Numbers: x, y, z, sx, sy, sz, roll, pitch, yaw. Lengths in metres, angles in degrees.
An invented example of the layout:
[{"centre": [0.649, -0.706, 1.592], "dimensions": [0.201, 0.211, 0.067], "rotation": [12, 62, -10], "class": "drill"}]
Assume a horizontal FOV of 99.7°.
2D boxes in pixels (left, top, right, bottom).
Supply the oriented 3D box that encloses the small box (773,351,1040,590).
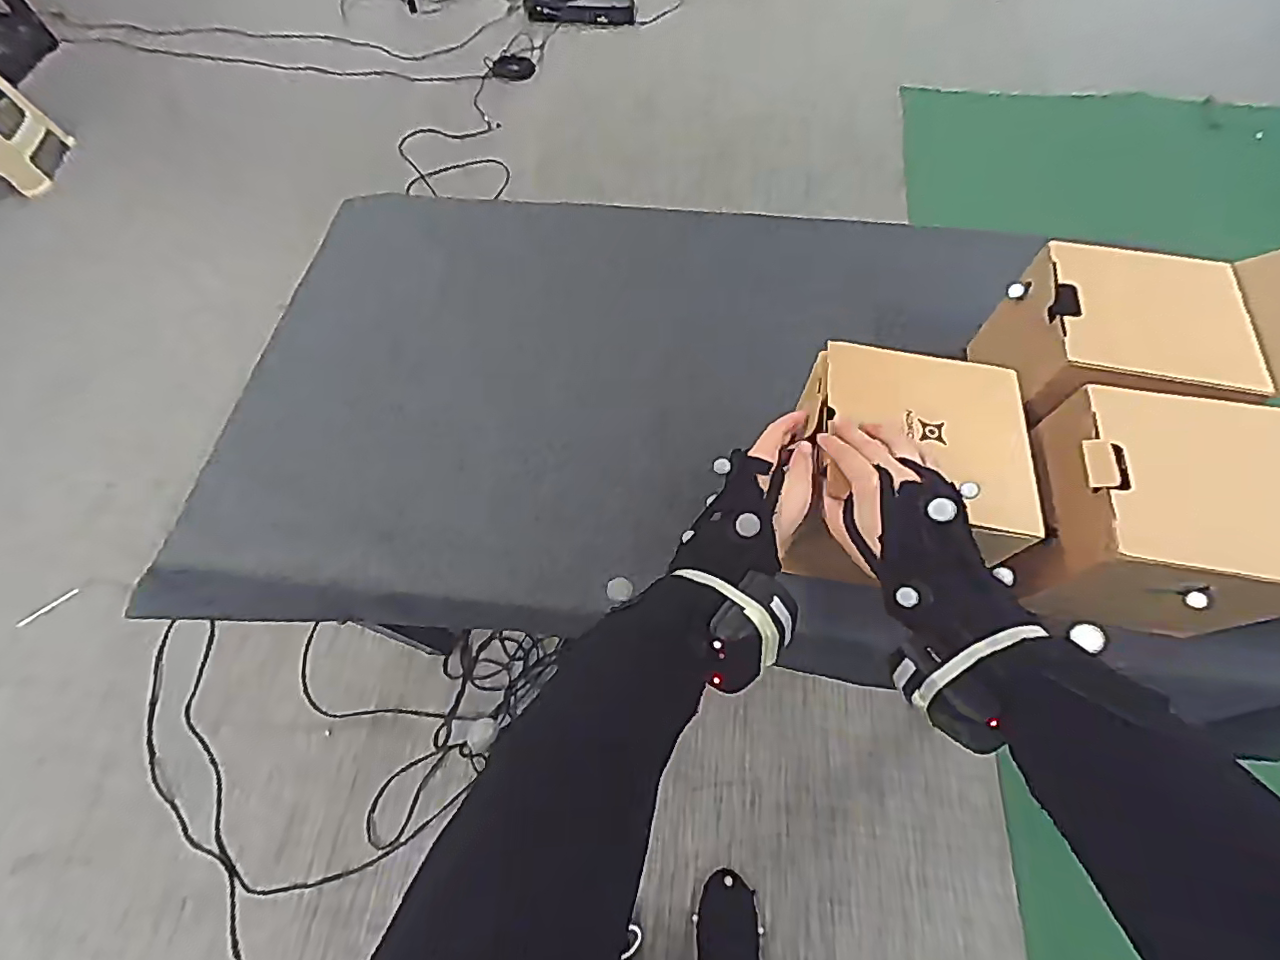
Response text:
[{"centre": [0.238, 0.000, 0.528], "dimensions": [0.179, 0.176, 0.168], "rotation": [8, 64, 7], "class": "small box"}]
